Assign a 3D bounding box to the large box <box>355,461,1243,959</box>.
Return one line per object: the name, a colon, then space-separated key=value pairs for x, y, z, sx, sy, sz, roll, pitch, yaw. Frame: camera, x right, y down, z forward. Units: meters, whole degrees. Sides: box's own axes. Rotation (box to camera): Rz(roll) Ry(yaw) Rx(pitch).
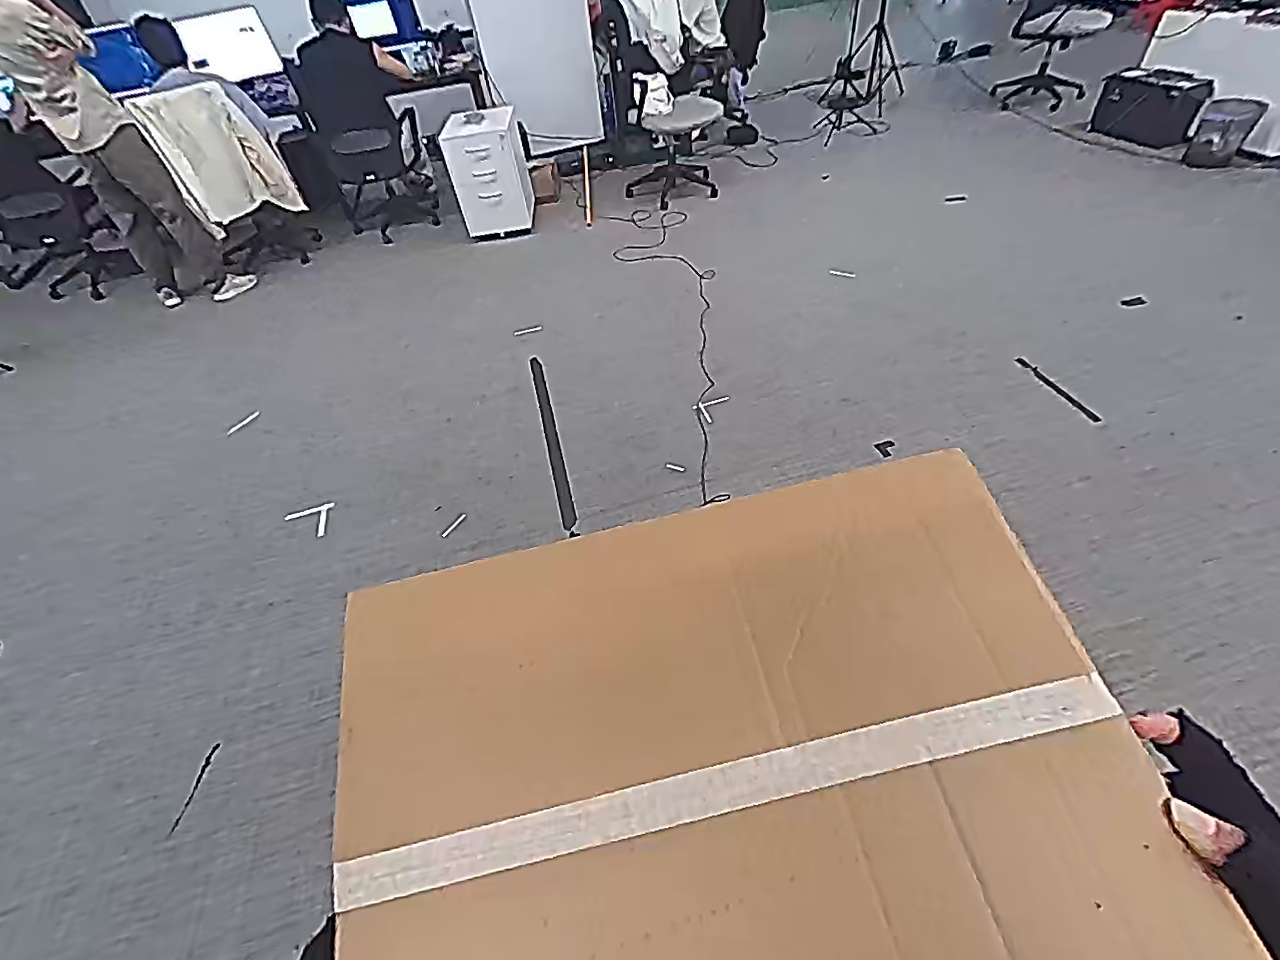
large box: x=0.060 y=0.235 z=0.415 sx=0.408 sy=0.320 sz=0.320 roll=-14 pitch=62 yaw=-1
